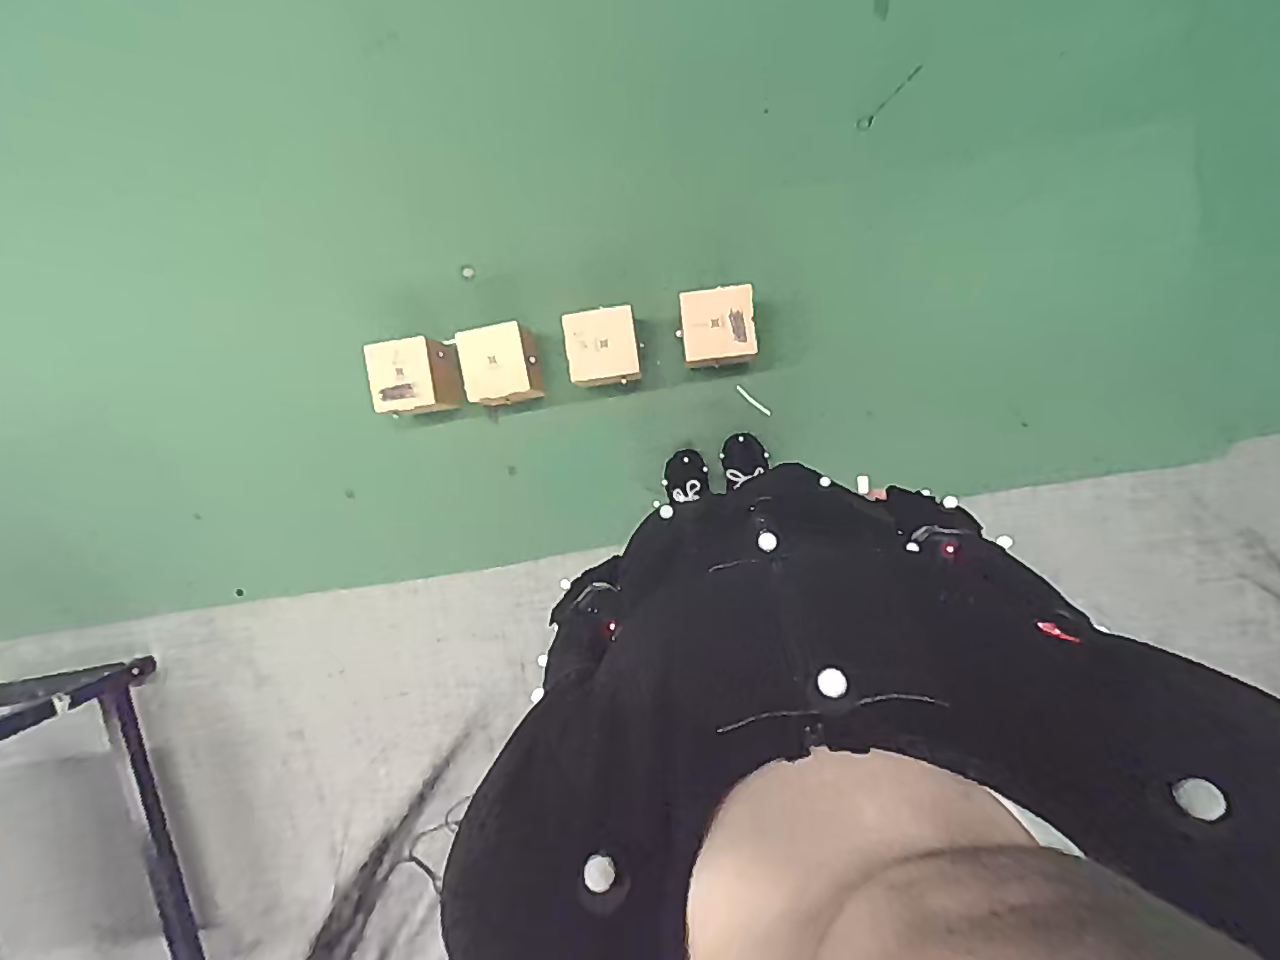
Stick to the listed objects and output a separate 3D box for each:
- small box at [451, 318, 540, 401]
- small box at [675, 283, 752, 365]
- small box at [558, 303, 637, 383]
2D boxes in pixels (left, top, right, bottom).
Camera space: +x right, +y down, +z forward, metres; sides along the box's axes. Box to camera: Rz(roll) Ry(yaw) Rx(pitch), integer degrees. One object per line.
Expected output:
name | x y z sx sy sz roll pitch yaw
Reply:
small box | -0.374 -0.310 1.423 0.168 0.176 0.179 -10 96 5
small box | 0.183 -0.390 1.376 0.179 0.176 0.168 -6 95 5
small box | -0.103 -0.347 1.399 0.179 0.176 0.168 -7 95 4
